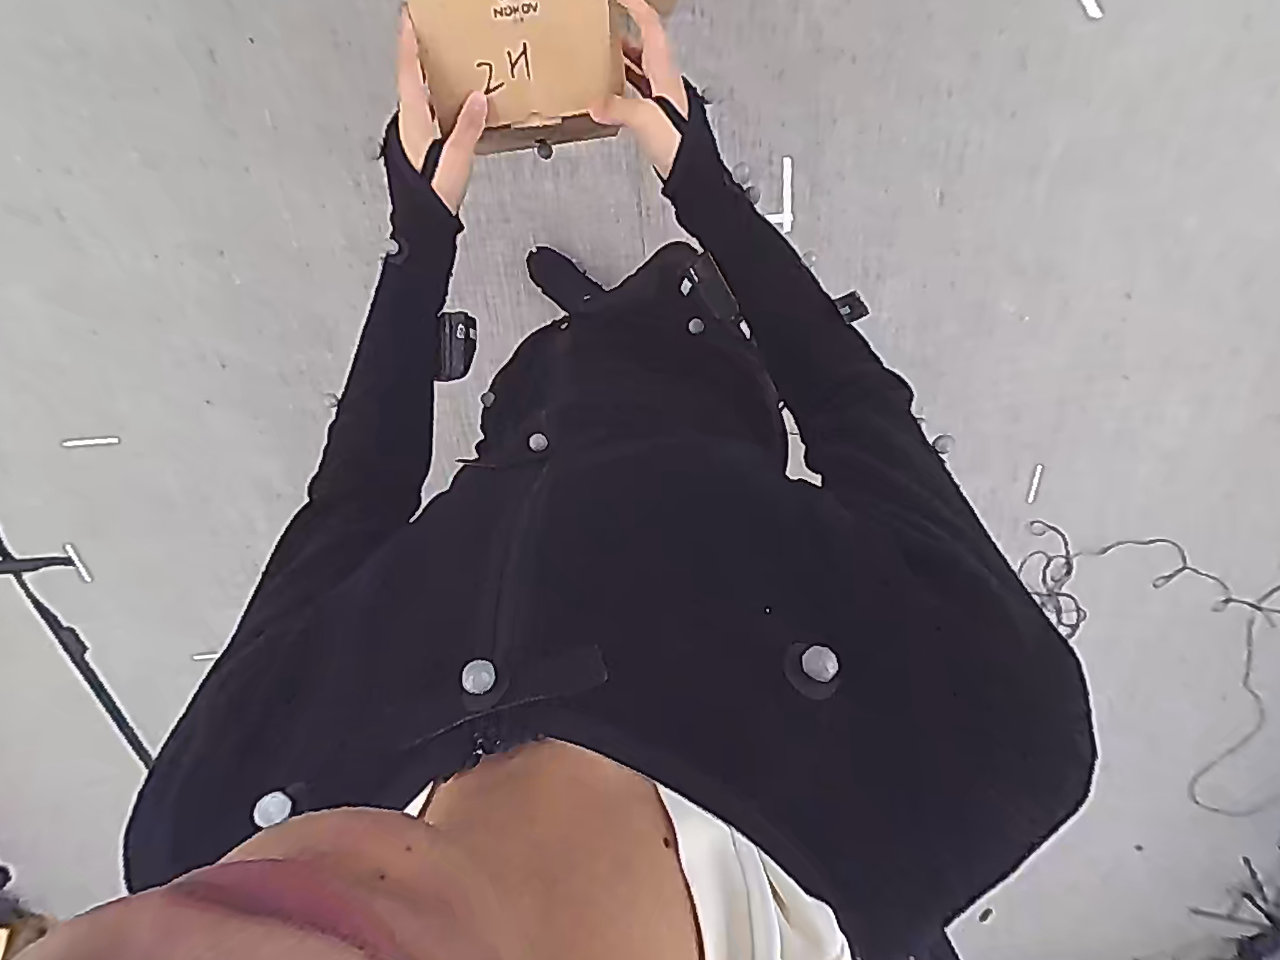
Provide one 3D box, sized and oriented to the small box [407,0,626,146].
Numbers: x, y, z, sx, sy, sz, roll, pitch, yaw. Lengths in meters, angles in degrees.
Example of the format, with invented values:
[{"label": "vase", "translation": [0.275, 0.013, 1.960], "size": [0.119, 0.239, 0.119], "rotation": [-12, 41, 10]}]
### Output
[{"label": "small box", "translation": [-0.110, -0.422, 0.491], "size": [0.168, 0.176, 0.179], "rotation": [-9, 117, -2]}]
